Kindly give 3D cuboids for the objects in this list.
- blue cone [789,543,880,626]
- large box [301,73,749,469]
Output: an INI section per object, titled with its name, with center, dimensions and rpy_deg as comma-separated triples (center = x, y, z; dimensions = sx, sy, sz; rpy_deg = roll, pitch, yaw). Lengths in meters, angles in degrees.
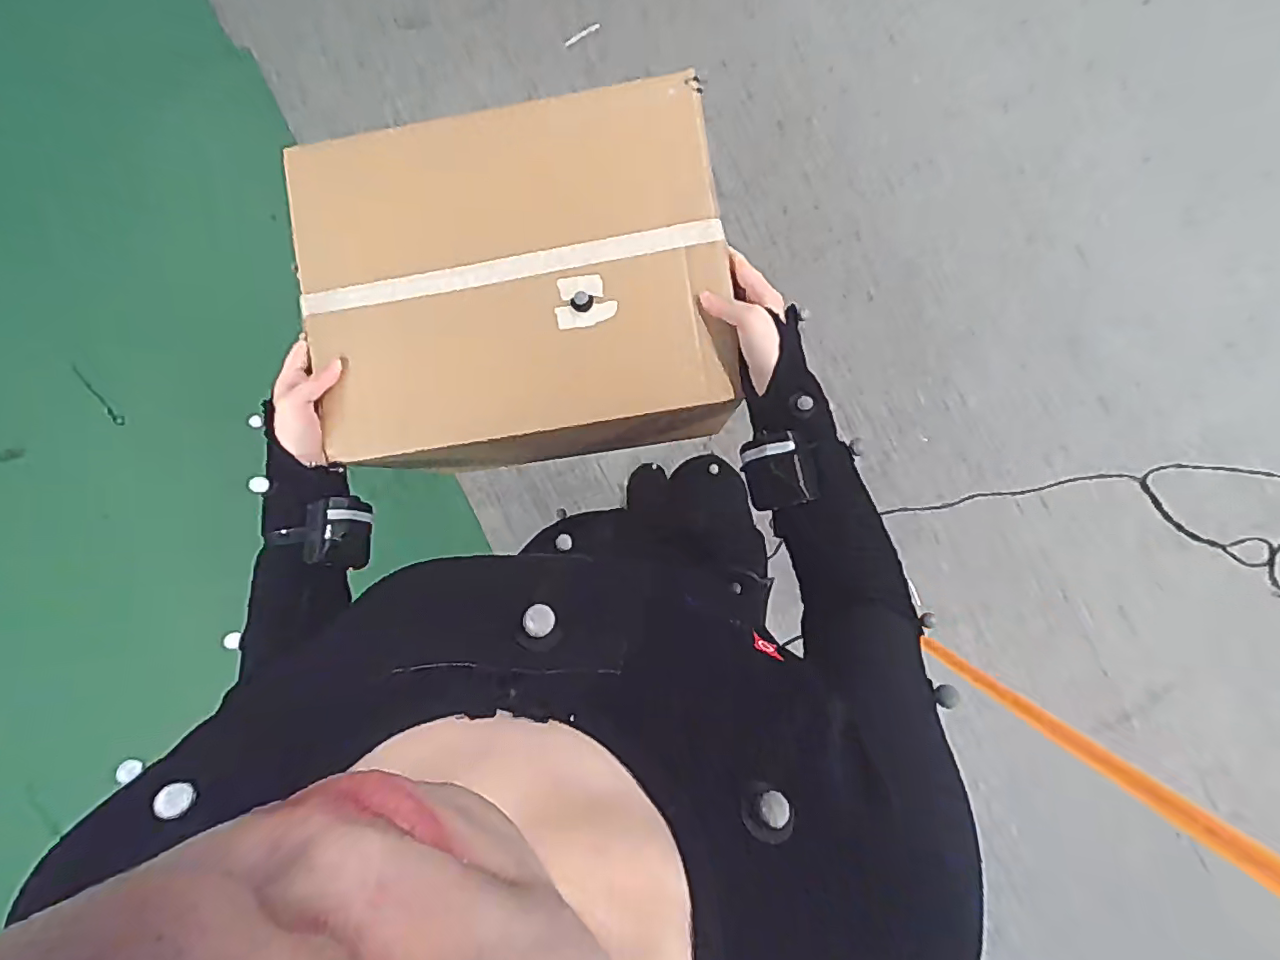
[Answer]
[blue cone]
center = 0.504, 0.279, 1.298
dimensions = 0.192, 0.380, 0.193
rpy_deg = -18, 89, 6
[large box]
center = -0.111, -0.203, 0.665
dimensions = 0.408, 0.320, 0.320
rpy_deg = -9, 89, 2
